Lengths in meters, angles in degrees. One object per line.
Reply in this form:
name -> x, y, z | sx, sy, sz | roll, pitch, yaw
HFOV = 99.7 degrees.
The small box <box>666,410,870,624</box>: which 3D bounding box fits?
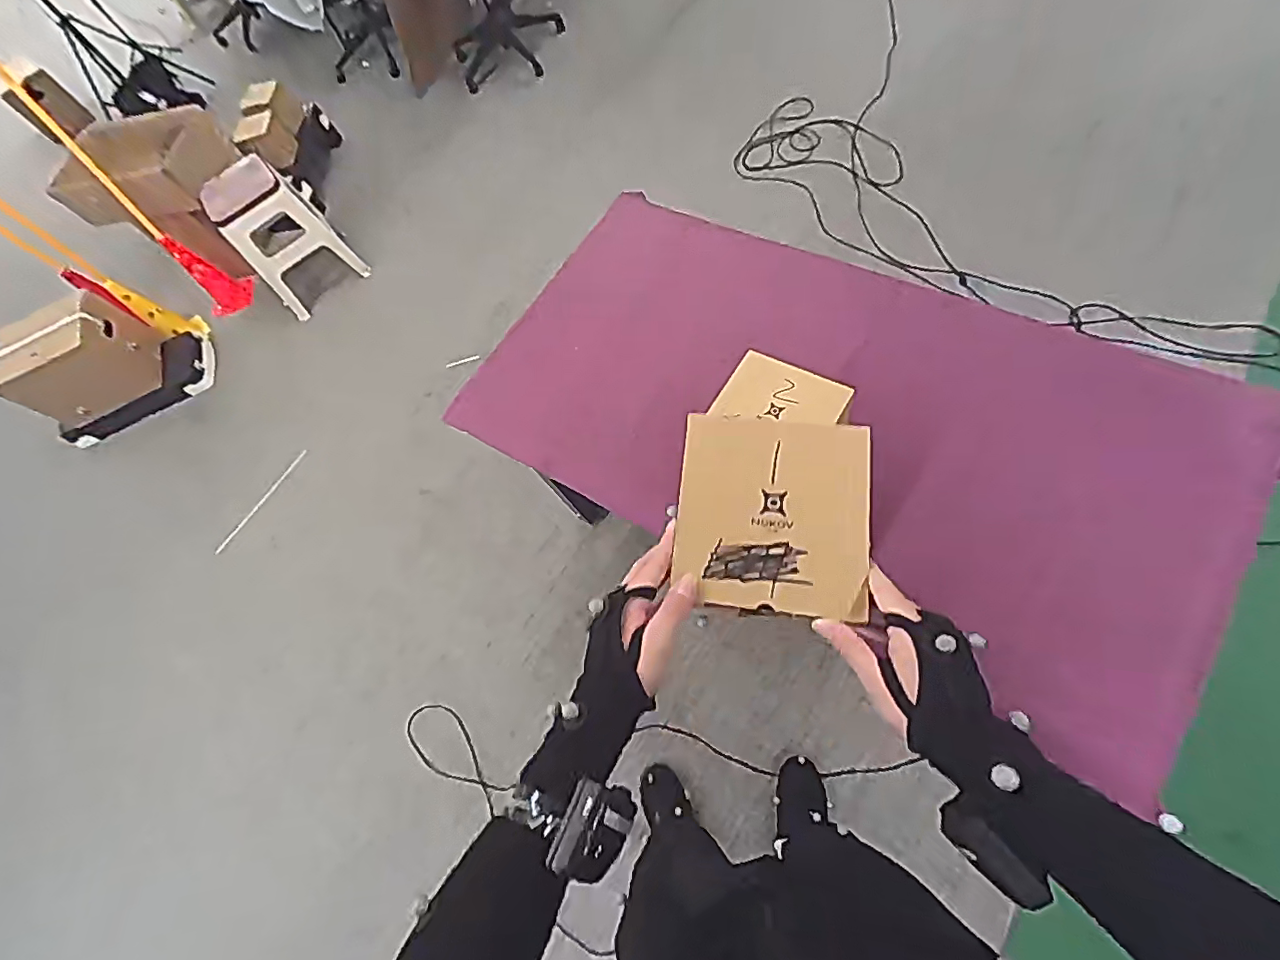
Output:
small box -> 0.123, 0.047, 0.546 | 0.168, 0.176, 0.179 | 5, 74, 8
